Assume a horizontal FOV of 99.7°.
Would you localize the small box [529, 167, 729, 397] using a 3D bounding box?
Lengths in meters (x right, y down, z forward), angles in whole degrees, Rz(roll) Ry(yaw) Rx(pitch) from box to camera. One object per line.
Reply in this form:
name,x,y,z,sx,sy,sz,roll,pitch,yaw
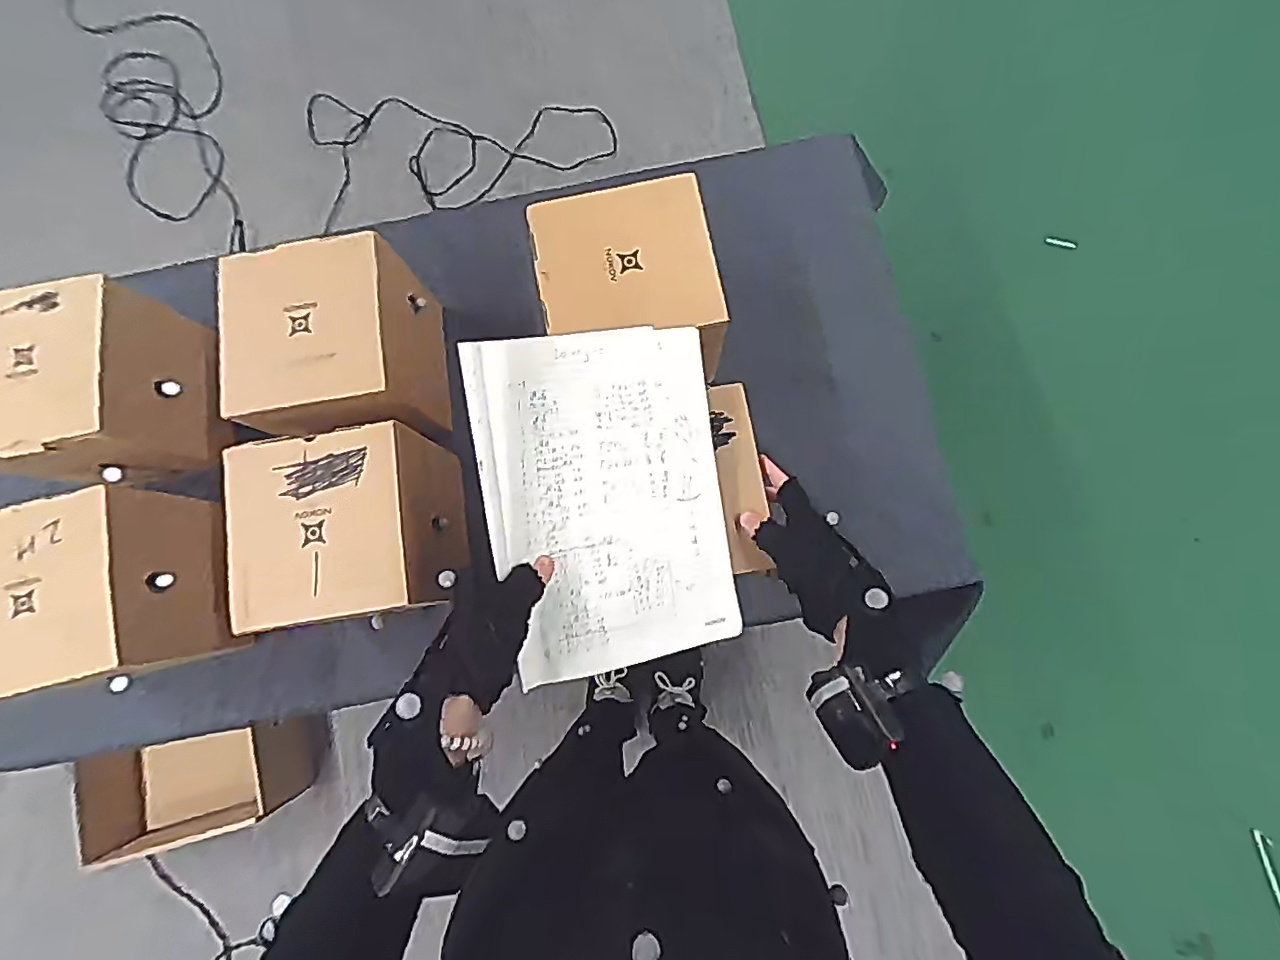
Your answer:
small box,-0.010,-0.208,0.609,0.179,0.176,0.168,-11,80,2
